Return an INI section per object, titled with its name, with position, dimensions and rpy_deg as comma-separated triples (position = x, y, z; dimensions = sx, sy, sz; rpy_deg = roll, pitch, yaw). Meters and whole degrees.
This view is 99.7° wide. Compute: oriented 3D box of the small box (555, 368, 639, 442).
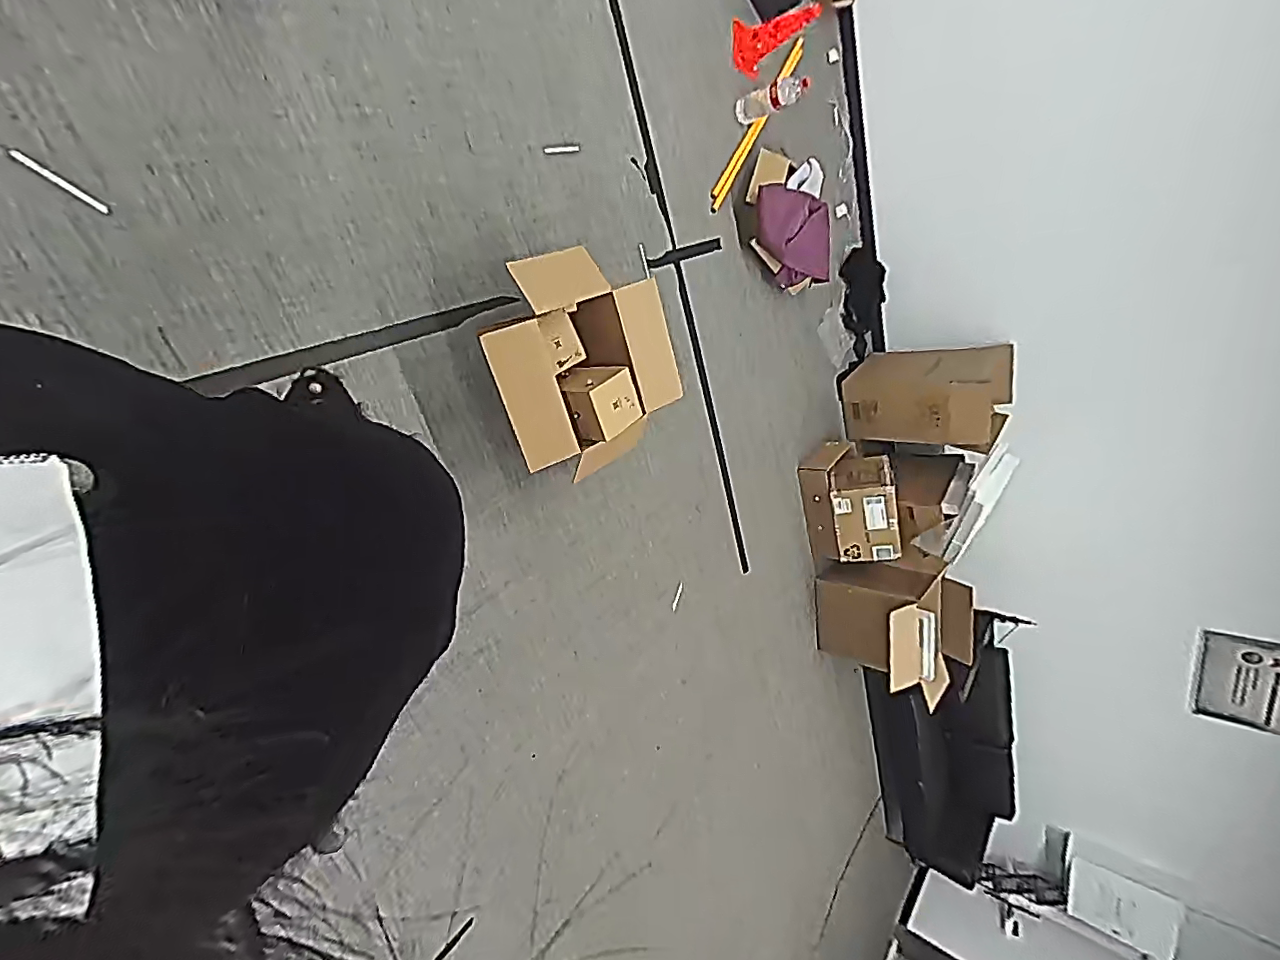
[small box]
position = -0.138, -0.233, 1.657
dimensions = 0.179, 0.176, 0.168
rpy_deg = -41, 126, -35
